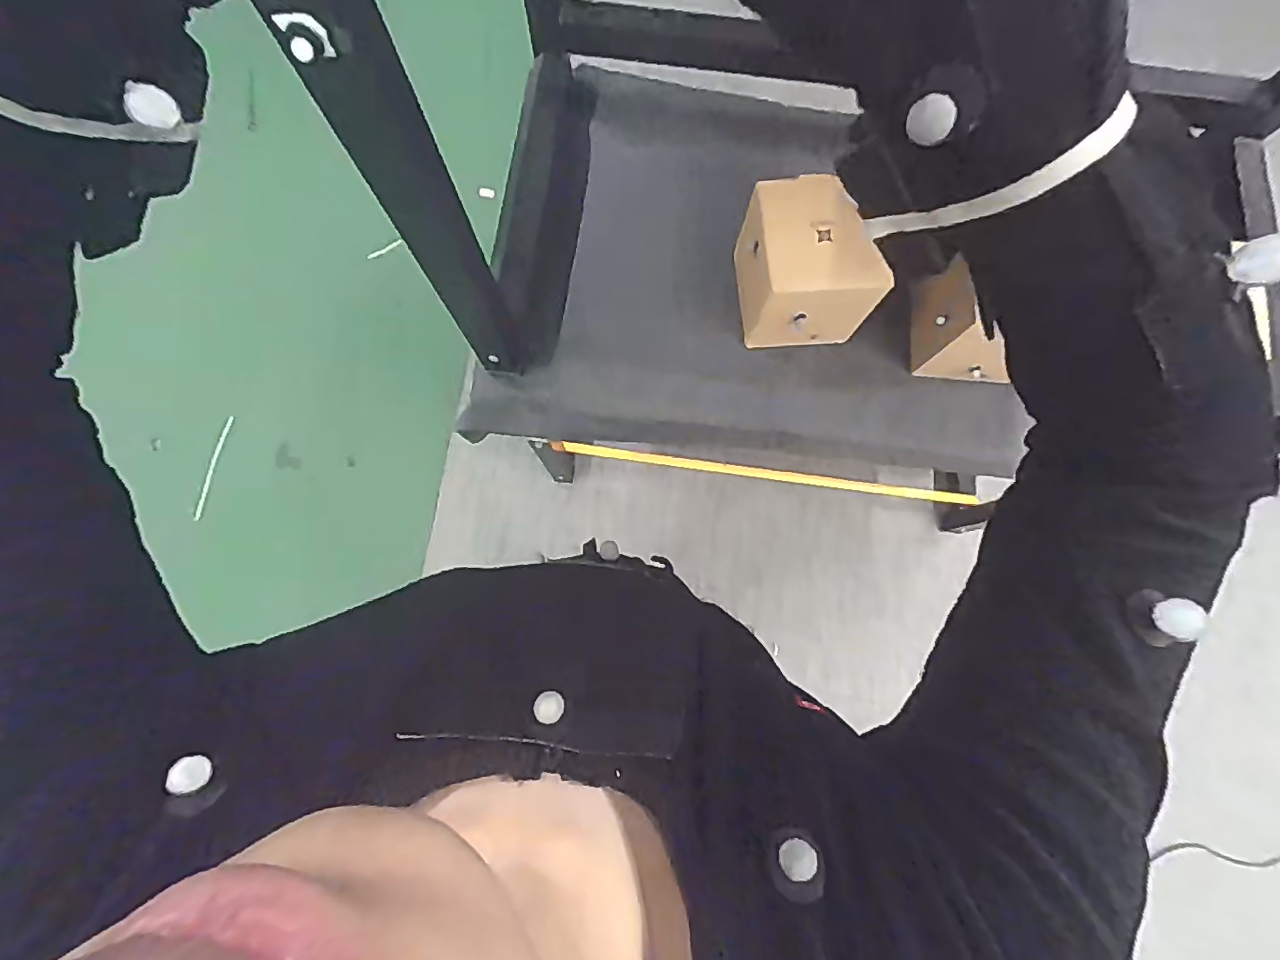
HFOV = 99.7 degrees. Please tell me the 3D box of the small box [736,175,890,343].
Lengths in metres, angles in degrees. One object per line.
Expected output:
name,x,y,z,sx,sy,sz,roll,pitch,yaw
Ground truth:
small box,0.245,-0.316,0.807,0.168,0.176,0.179,-4,77,-2
